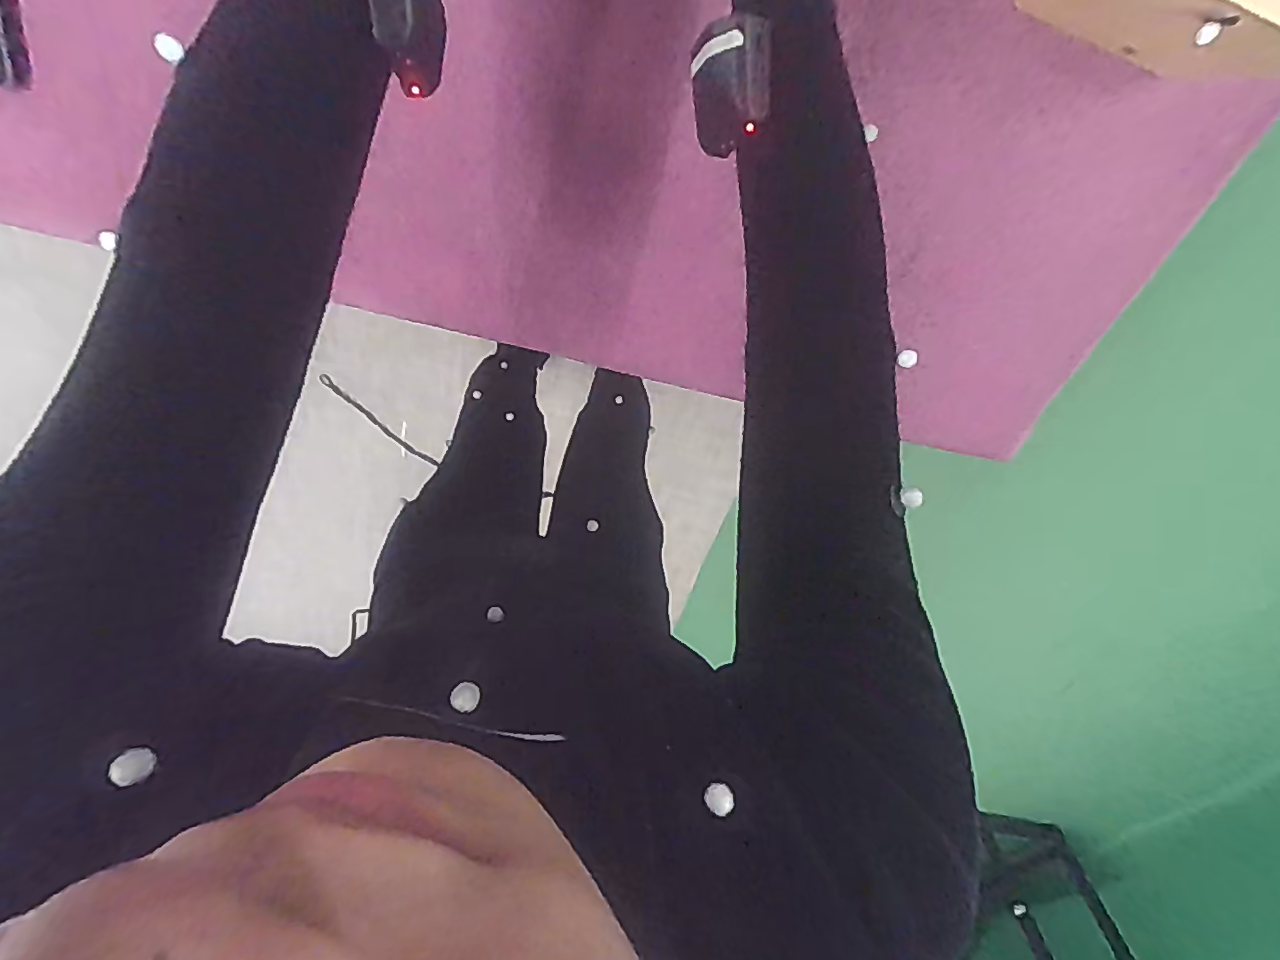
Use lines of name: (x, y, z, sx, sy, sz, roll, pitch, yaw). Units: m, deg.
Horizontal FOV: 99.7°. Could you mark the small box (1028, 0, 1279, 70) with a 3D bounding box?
small box: (0.396, -0.383, 0.329, 0.168, 0.176, 0.179, 15, 124, -9)
